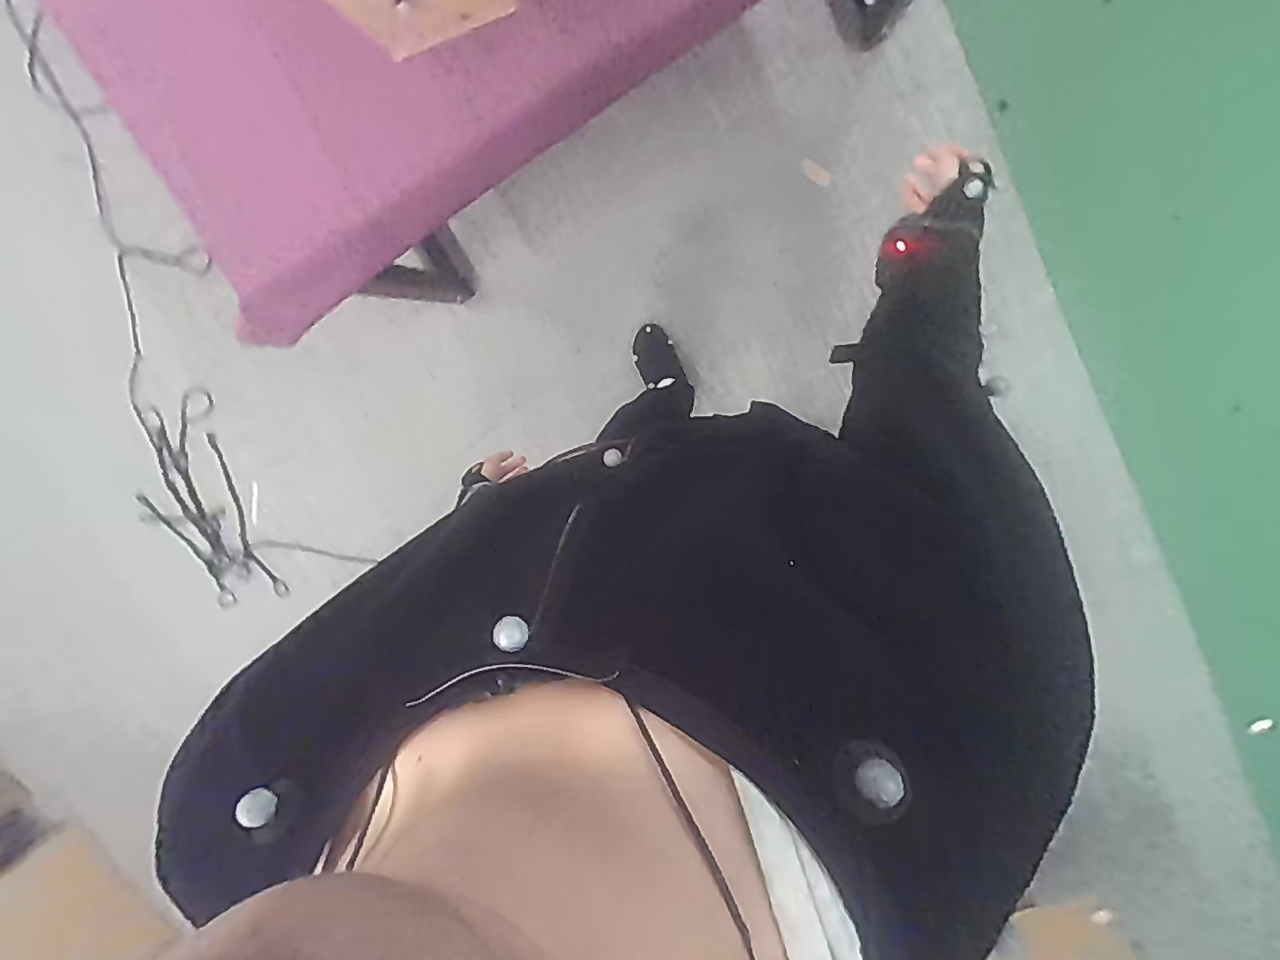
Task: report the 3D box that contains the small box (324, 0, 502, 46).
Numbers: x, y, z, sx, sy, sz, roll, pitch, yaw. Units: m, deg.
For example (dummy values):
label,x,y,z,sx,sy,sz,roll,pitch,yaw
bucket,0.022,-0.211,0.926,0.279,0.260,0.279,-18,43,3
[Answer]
label,x,y,z,sx,sy,sz,roll,pitch,yaw
small box,-0.259,-0.585,0.542,0.168,0.176,0.179,-15,103,9
